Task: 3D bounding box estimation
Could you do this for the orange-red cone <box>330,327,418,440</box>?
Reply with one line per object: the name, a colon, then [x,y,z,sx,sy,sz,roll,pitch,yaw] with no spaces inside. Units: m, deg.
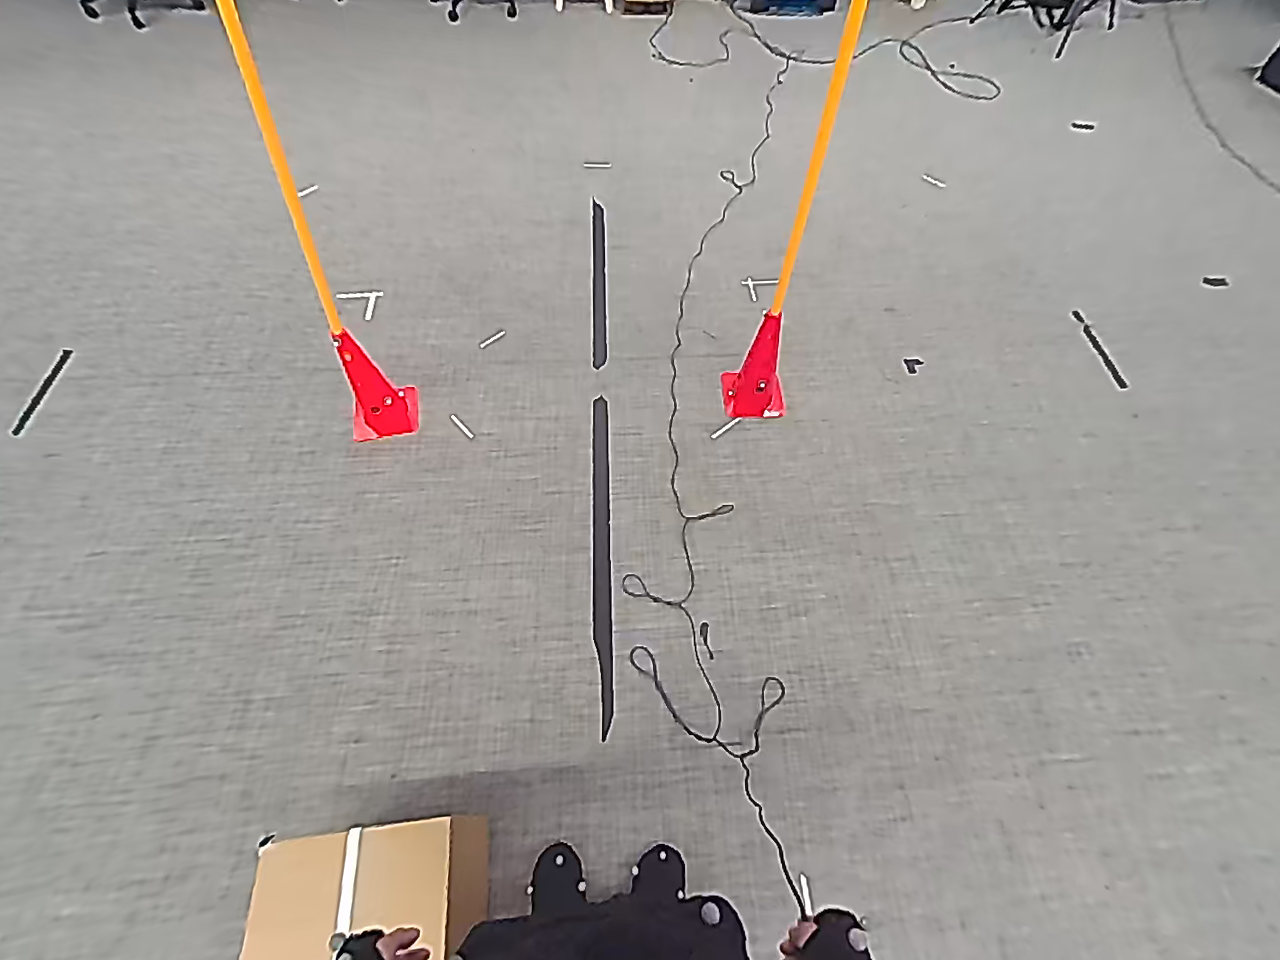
orange-red cone: [-0.824,-0.306,1.607,0.199,0.360,0.198,-10,58,-6]
